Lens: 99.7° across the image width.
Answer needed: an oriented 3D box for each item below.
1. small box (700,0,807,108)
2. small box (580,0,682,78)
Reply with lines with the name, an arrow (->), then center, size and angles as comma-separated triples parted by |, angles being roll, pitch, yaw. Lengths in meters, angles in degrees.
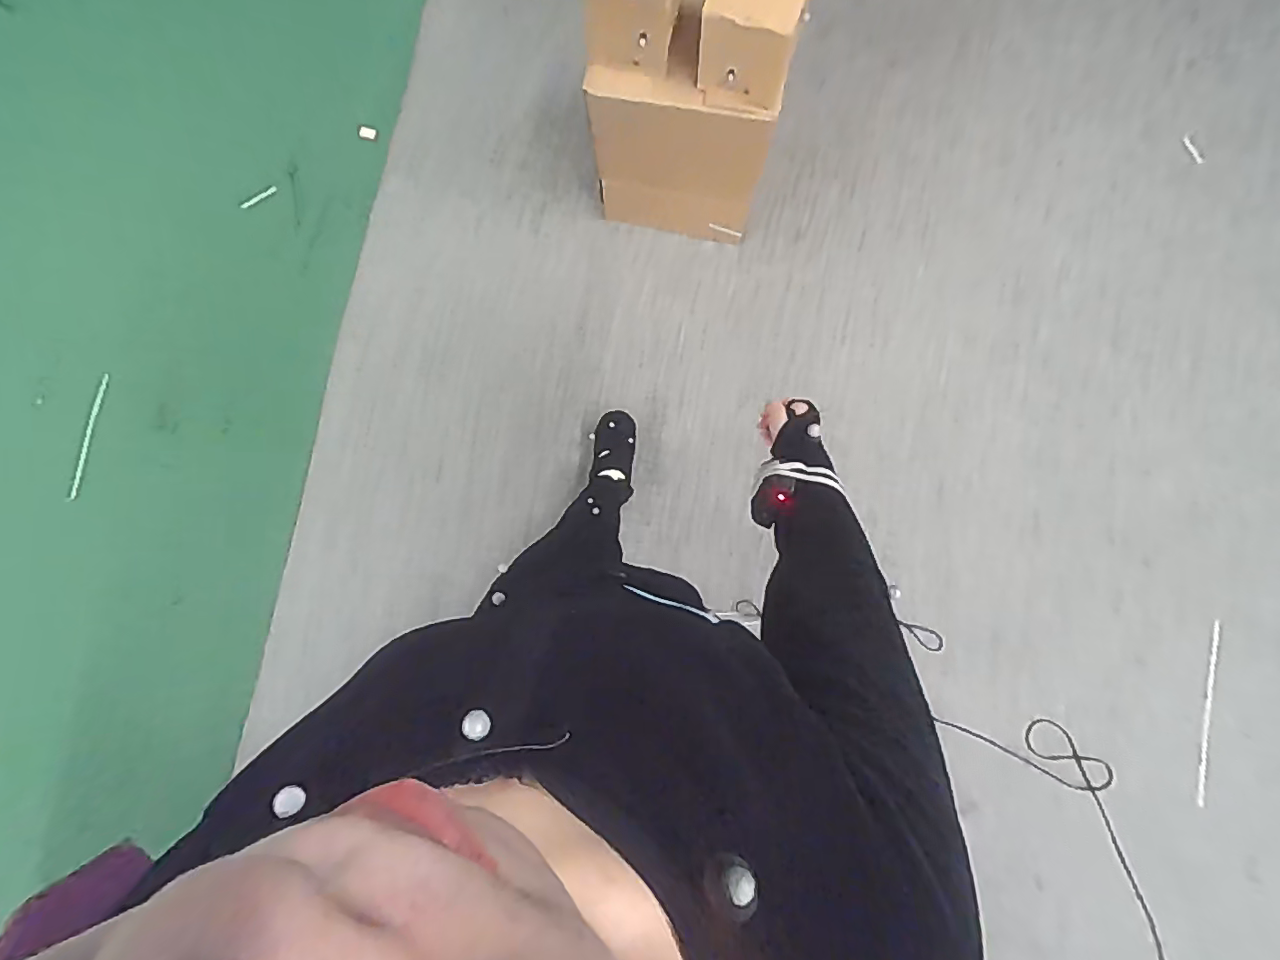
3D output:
small box -> 0.216, -0.865, 1.028 | 0.168, 0.176, 0.179 | 17, 87, 4
small box -> -0.010, -0.927, 1.040 | 0.168, 0.176, 0.179 | 13, 86, 0
